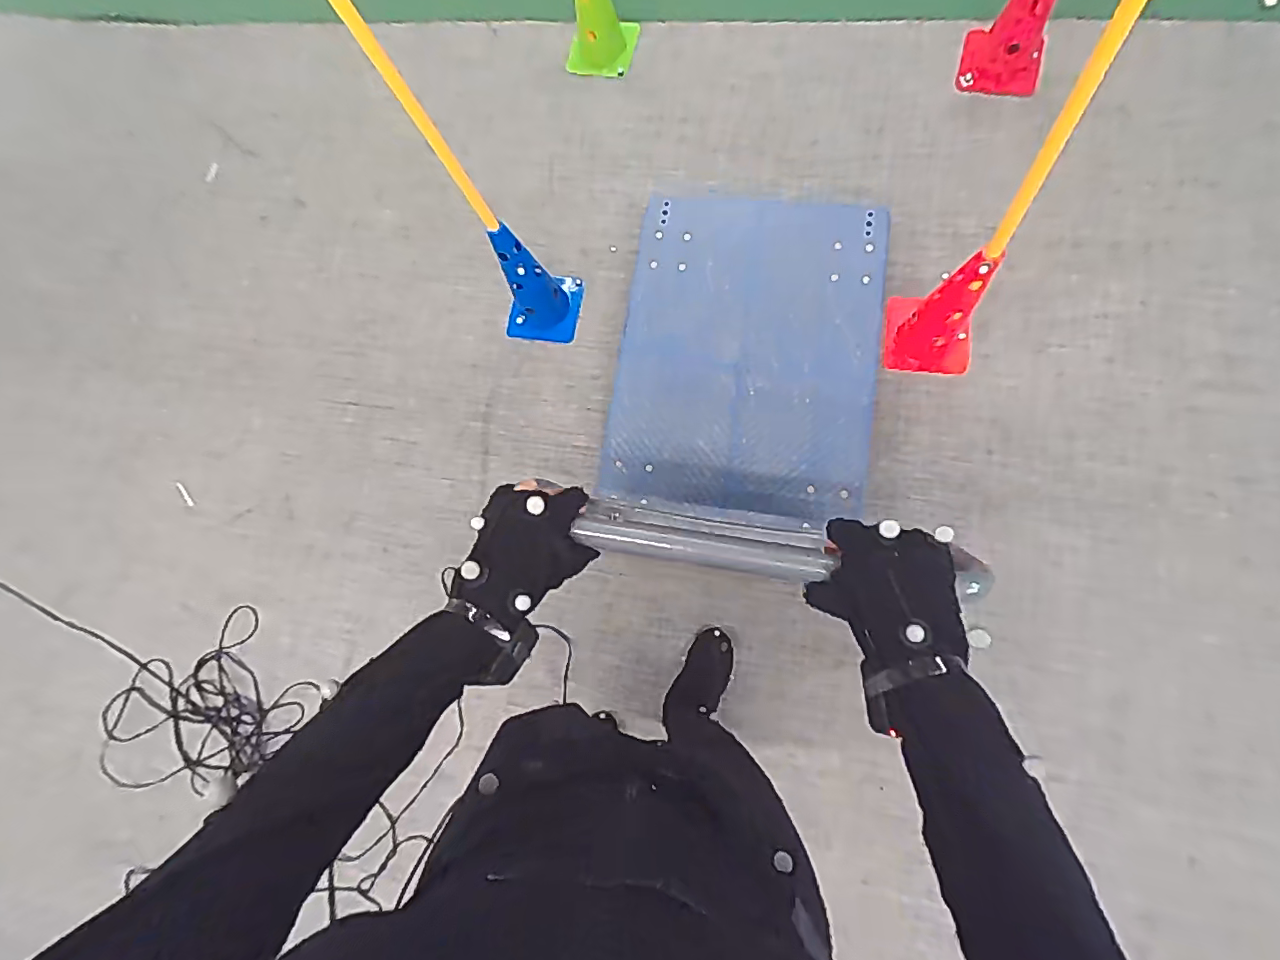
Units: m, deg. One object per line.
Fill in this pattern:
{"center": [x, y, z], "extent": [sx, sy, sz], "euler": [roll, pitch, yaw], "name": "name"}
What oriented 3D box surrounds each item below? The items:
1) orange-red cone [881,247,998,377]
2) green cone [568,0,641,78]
{"center": [0.692, -0.393, 1.203], "extent": [0.199, 0.360, 0.198], "euler": [8, 80, 11], "name": "orange-red cone"}
{"center": [-0.136, -1.373, 1.513], "extent": [0.202, 0.368, 0.200], "euler": [13, 81, 11], "name": "green cone"}
